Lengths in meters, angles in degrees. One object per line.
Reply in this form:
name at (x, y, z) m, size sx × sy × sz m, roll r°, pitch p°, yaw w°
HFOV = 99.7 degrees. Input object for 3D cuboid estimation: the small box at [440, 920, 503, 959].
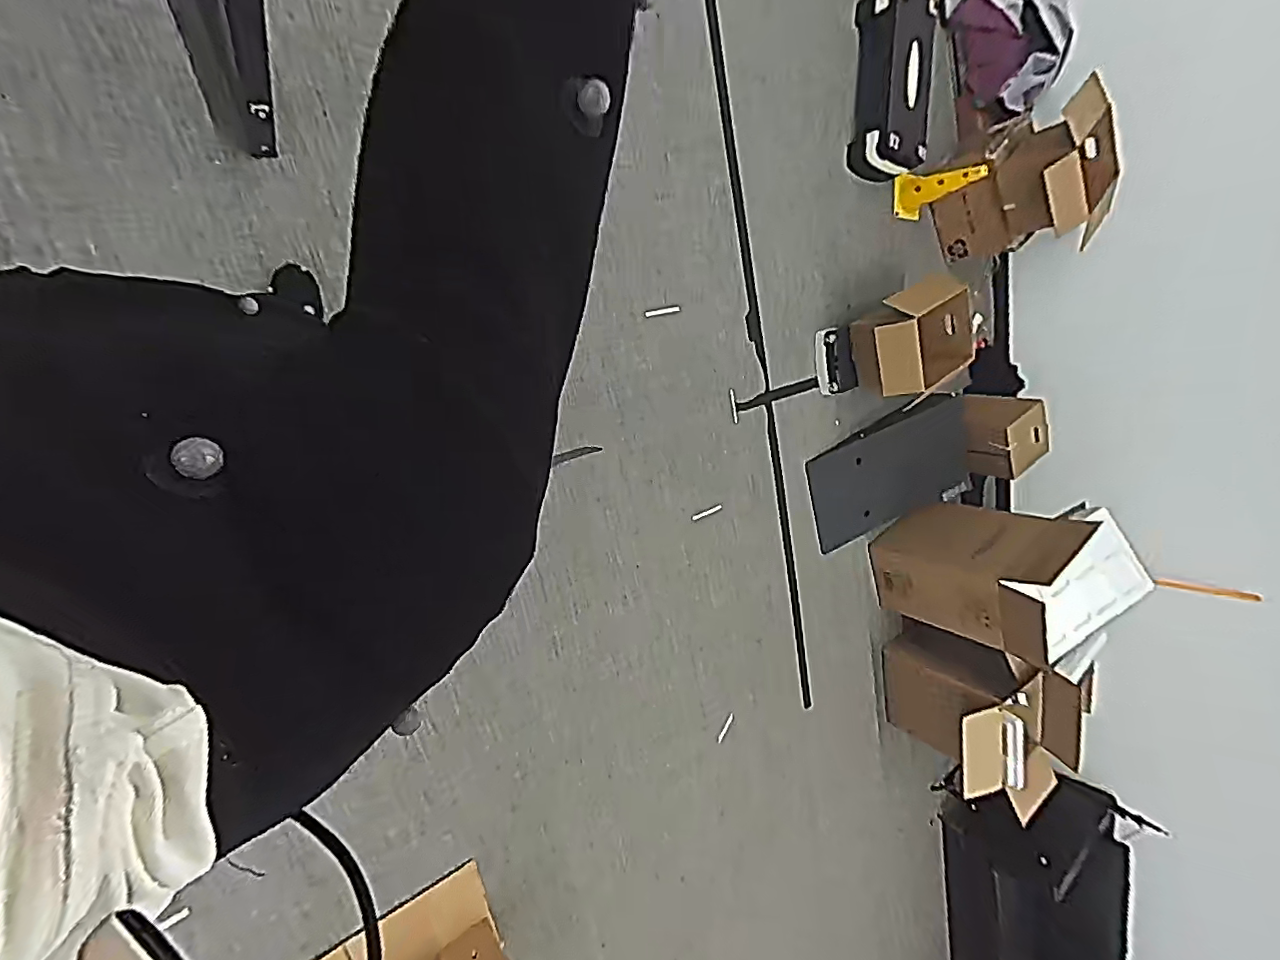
small box at (-0.547, 1.624, 1.781) m, size 0.179 × 0.176 × 0.168 m, roll -20°, pitch 108°, yaw -31°
